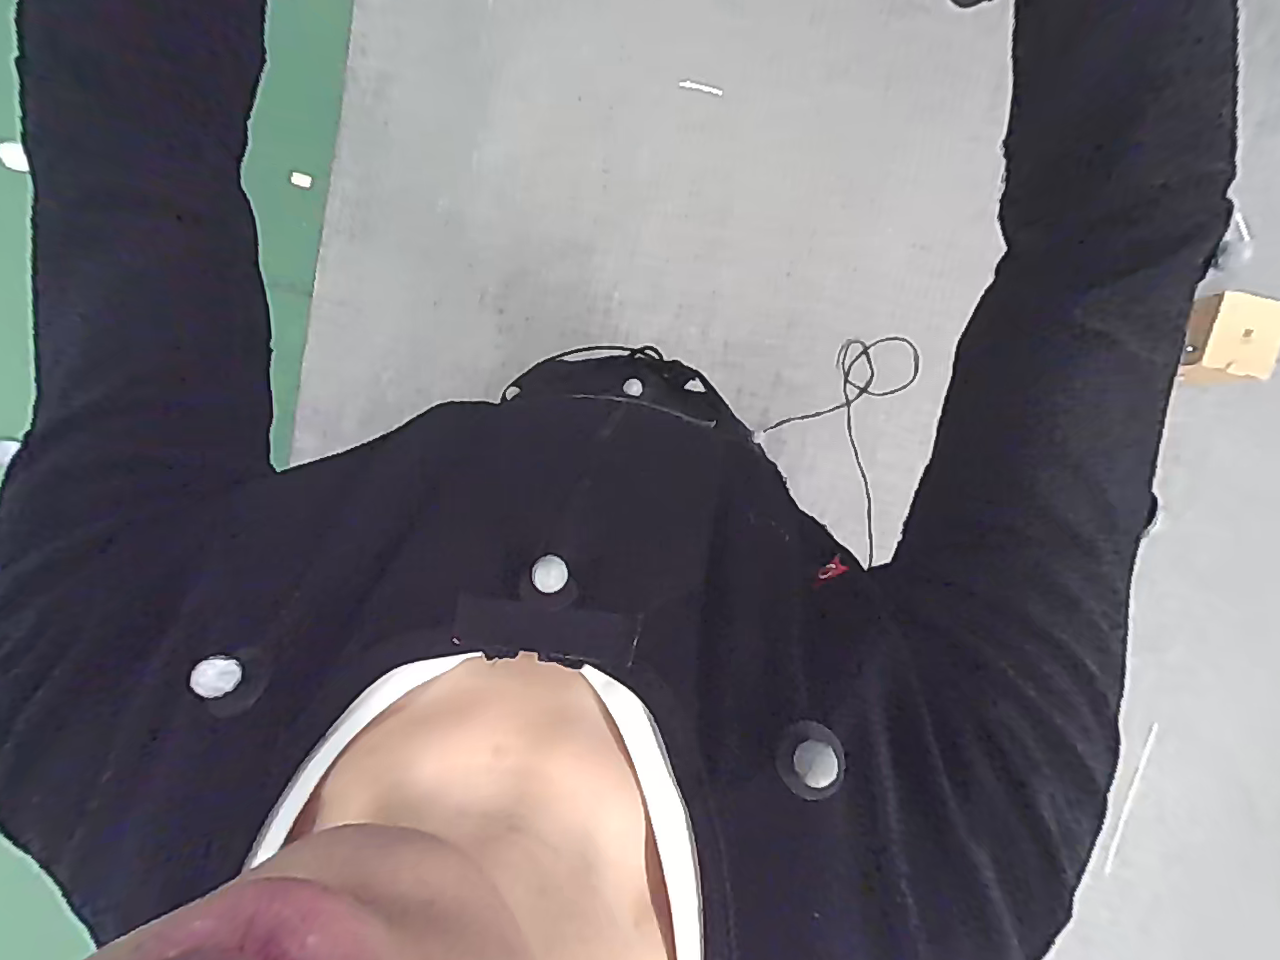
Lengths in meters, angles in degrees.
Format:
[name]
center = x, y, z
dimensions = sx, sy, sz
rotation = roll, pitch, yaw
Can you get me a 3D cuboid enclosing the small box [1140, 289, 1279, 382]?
[small box]
center = 1.389, -0.344, 1.320
dimensions = 0.168, 0.176, 0.179
rotation = 12, 97, 0
